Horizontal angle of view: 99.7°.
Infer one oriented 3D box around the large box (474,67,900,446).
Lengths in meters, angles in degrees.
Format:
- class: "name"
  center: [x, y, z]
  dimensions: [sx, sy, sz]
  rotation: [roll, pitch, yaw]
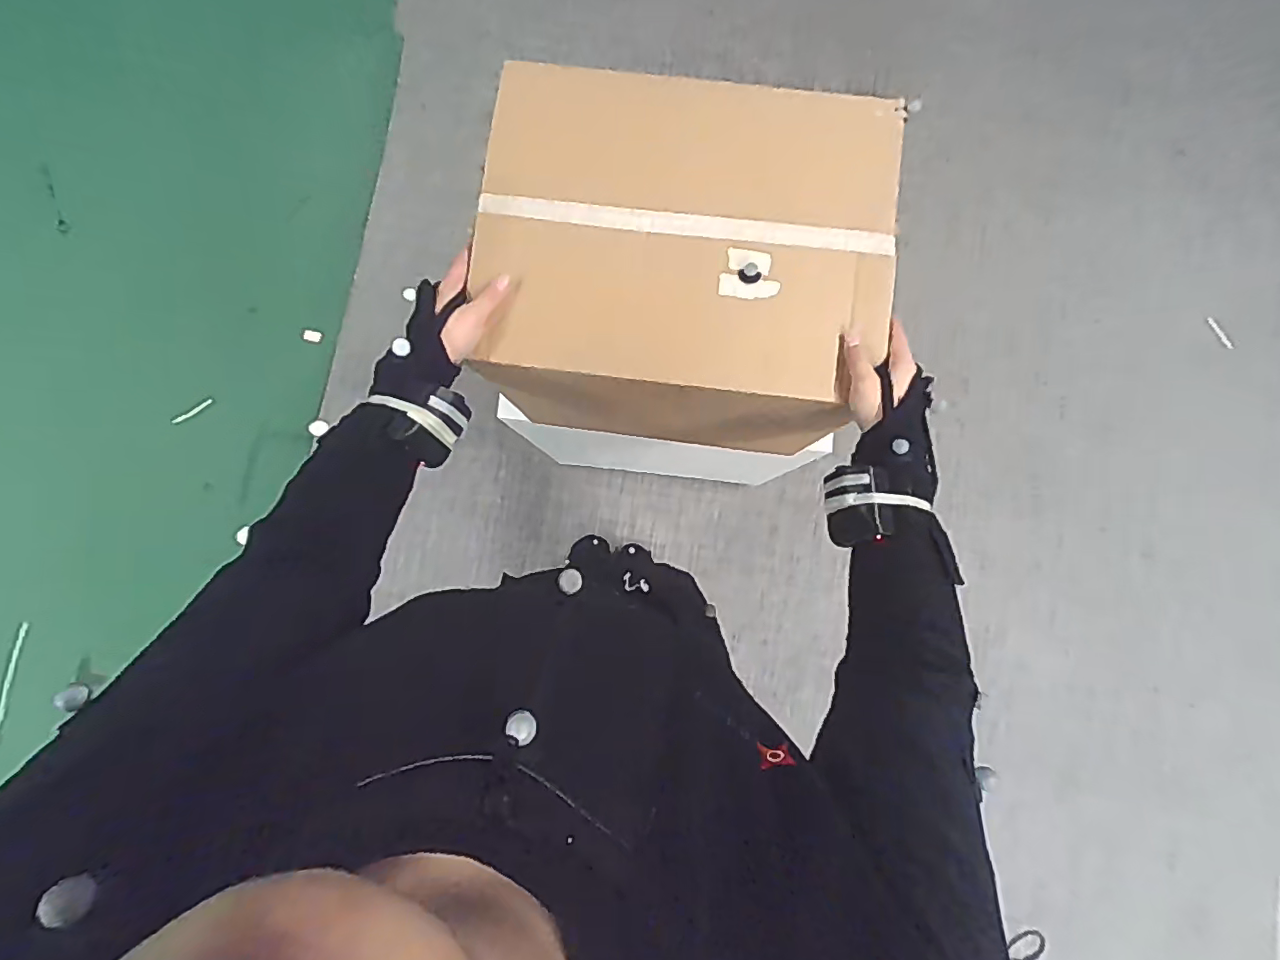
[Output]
- class: "large box"
  center: [0.049, -0.236, 0.680]
  dimensions: [0.408, 0.320, 0.320]
  rotation: [7, 85, 1]
